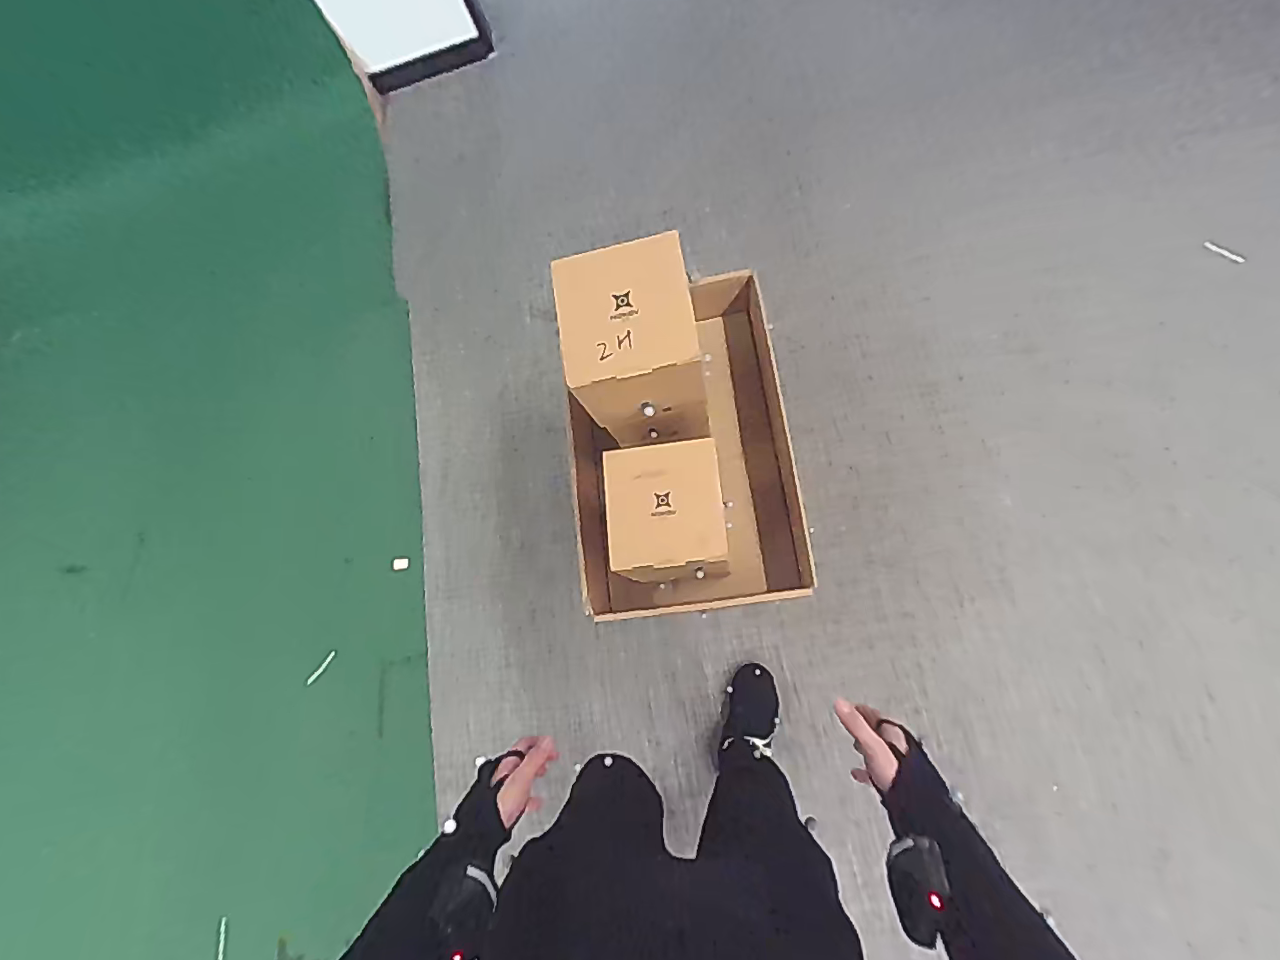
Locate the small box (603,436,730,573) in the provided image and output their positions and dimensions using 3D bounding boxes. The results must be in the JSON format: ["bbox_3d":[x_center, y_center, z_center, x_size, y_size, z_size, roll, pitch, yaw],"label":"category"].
[{"bbox_3d":[0.046,0.048,0.828,0.168,0.176,0.179,-7,74,9],"label":"small box"}]

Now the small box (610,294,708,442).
[{"bbox_3d":[0.017,-0.177,0.892,0.168,0.176,0.179,-9,78,8],"label":"small box"}]

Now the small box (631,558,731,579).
[{"bbox_3d":[0.071,0.084,0.985,0.168,0.176,0.179,-9,74,9],"label":"small box"}]

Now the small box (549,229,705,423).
[{"bbox_3d":[-0.010,-0.196,0.730,0.168,0.176,0.179,-11,78,9],"label":"small box"}]
